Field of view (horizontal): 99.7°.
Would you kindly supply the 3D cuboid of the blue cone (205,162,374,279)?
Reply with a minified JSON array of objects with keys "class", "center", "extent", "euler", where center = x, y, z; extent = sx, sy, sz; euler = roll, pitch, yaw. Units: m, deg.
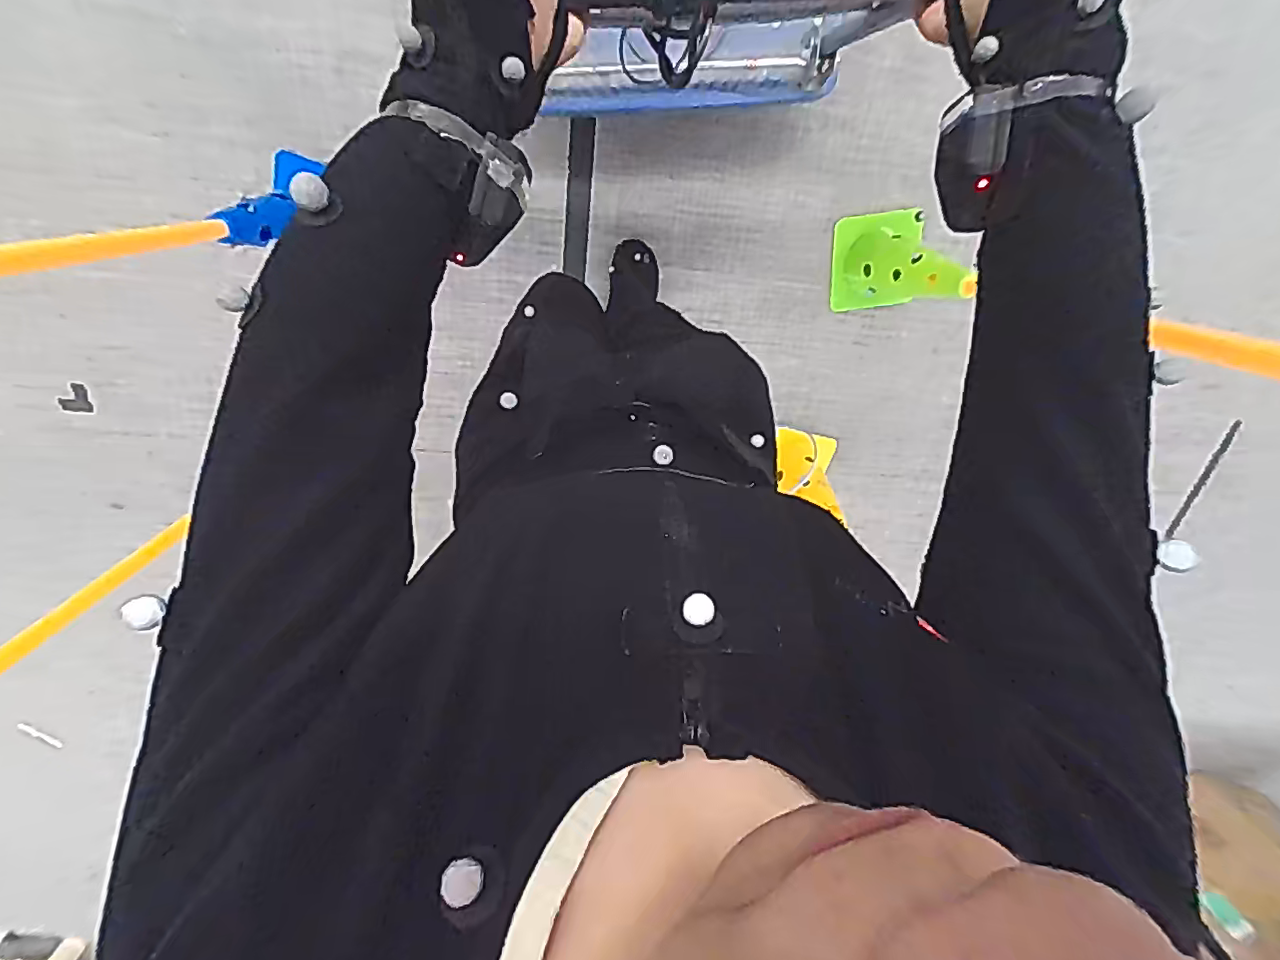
[{"class":"blue cone","center":[-0.635,-0.447,0.956],"extent":[0.193,0.380,0.192],"euler":[17,116,-13]}]

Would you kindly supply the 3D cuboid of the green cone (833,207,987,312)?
[{"class":"green cone","center":[0.542,-0.405,1.054],"extent":[0.200,0.368,0.202],"euler":[-9,119,0]}]
